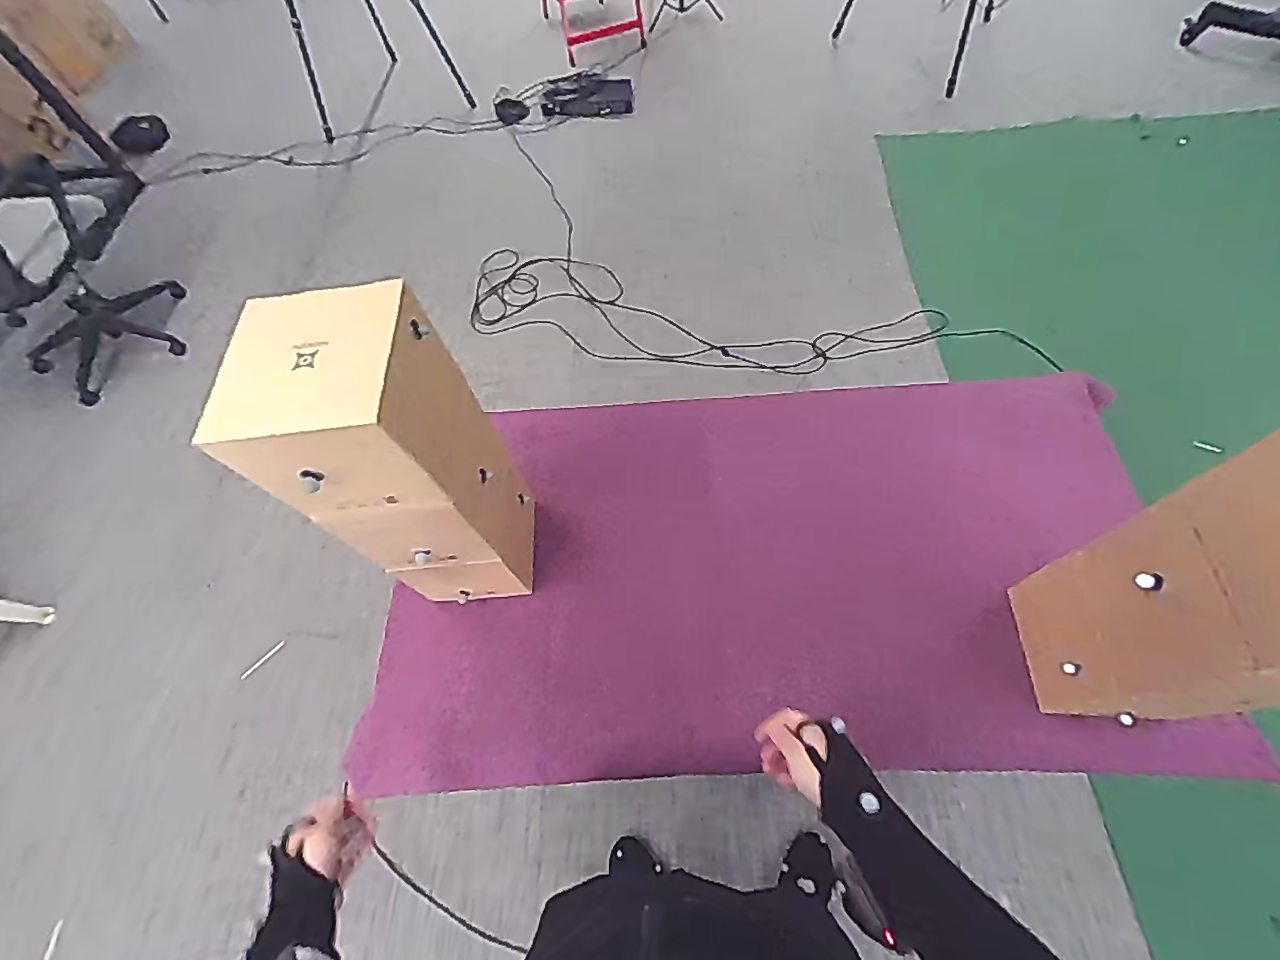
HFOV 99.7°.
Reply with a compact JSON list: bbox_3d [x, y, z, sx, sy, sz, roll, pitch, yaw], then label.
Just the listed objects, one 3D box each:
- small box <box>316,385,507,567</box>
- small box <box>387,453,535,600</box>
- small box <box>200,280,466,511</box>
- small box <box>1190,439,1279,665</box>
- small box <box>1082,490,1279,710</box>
[{"bbox_3d":[-0.282,0.000,0.713,0.168,0.176,0.179,-6,62,3],"label":"small box"},{"bbox_3d":[-0.268,0.078,0.856,0.168,0.176,0.179,-5,62,3],"label":"small box"},{"bbox_3d":[-0.297,-0.077,0.570,0.168,0.176,0.179,-6,61,3],"label":"small box"},{"bbox_3d":[0.593,0.045,0.410,0.168,0.176,0.179,1,62,8],"label":"small box"},{"bbox_3d":[0.607,0.126,0.553,0.168,0.176,0.179,0,61,7],"label":"small box"}]
